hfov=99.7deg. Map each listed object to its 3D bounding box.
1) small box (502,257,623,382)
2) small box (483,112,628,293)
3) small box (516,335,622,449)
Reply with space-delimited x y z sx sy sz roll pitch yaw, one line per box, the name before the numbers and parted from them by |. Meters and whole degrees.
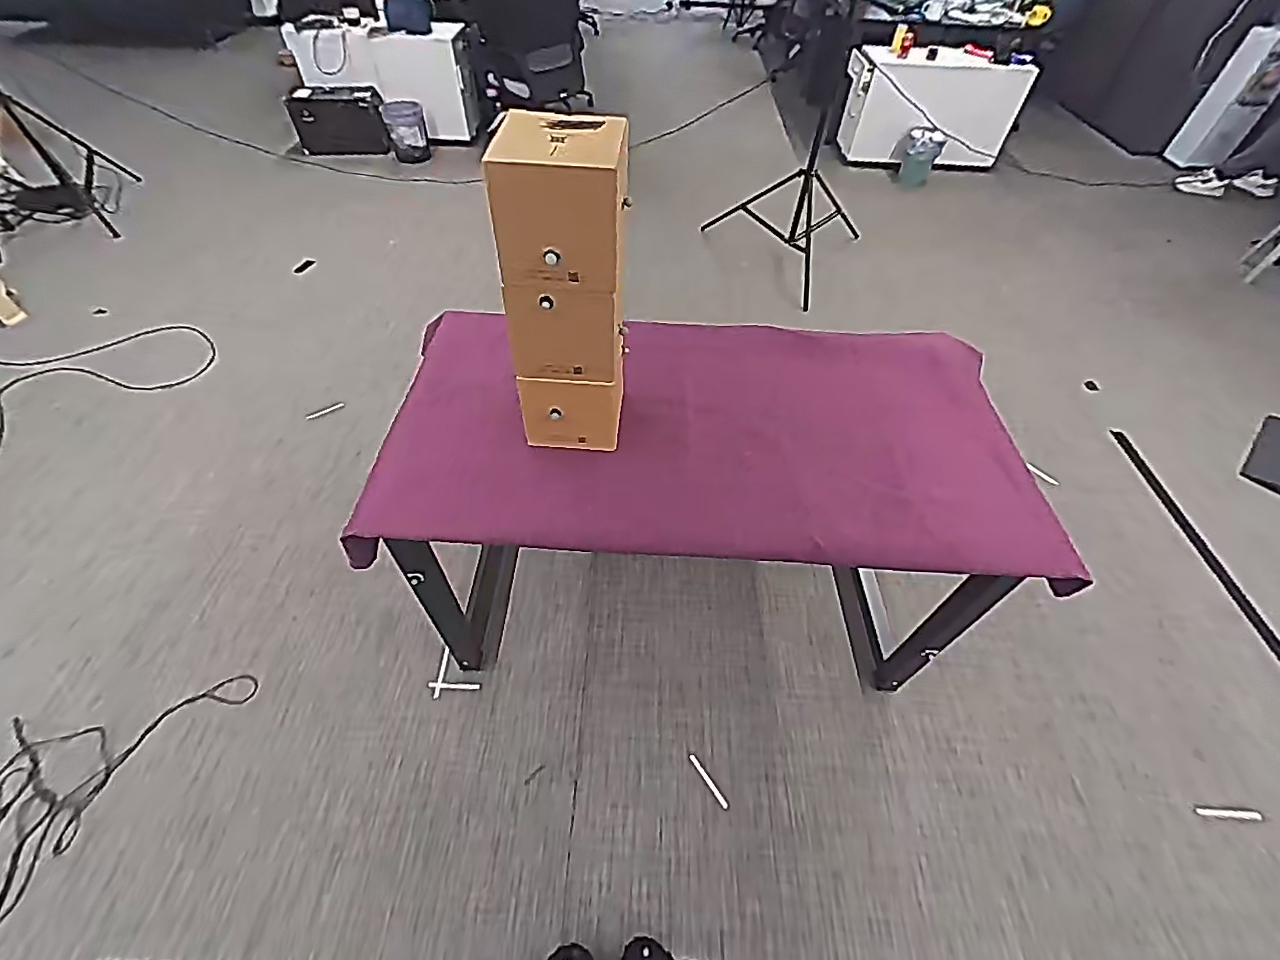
small box | -0.117 -0.284 0.888 0.168 0.176 0.179 3 49 0
small box | -0.107 -0.388 0.760 0.168 0.176 0.179 4 51 1
small box | -0.122 -0.175 1.010 0.168 0.176 0.179 4 50 0
